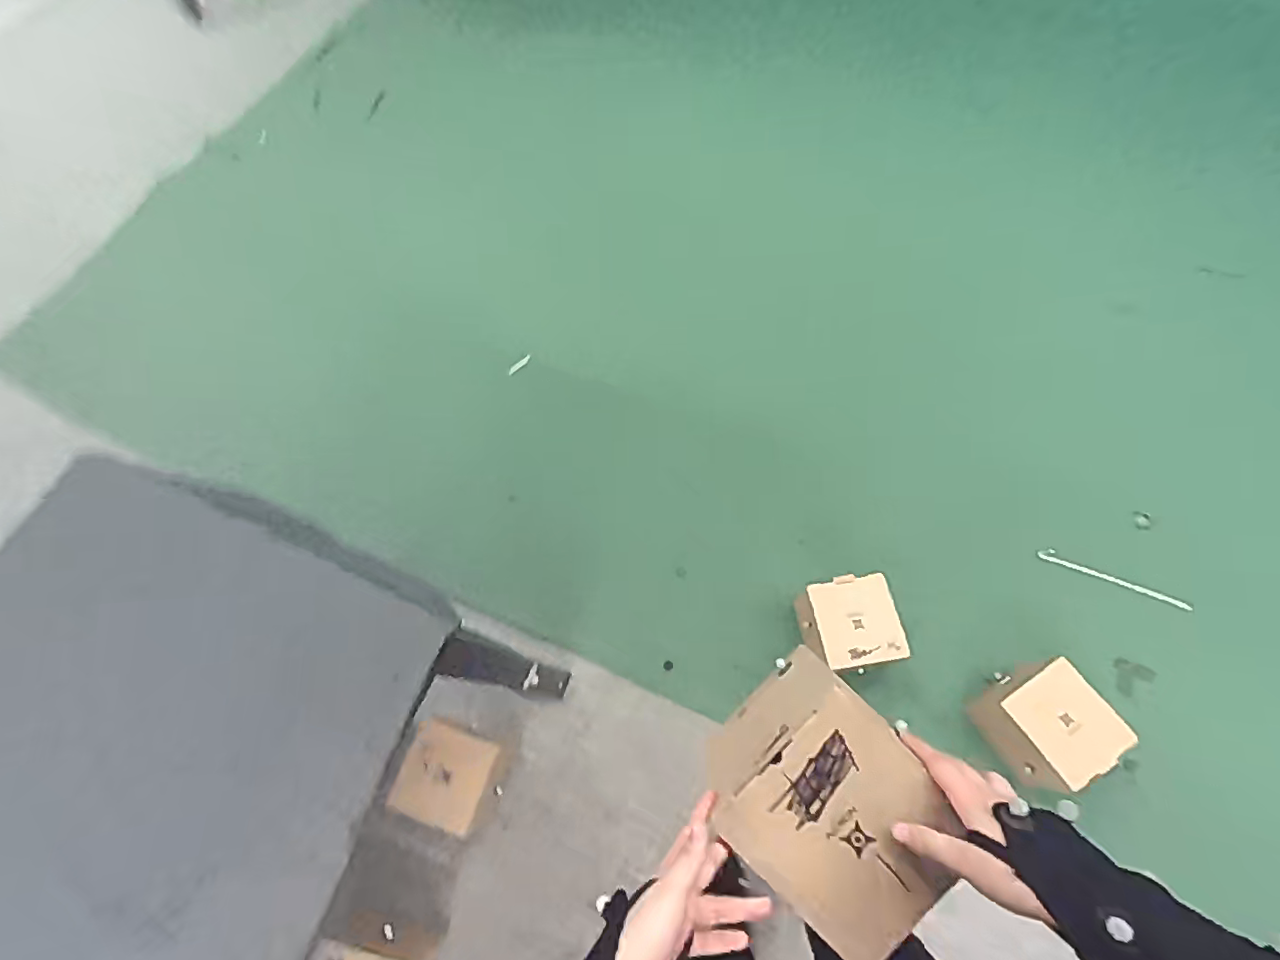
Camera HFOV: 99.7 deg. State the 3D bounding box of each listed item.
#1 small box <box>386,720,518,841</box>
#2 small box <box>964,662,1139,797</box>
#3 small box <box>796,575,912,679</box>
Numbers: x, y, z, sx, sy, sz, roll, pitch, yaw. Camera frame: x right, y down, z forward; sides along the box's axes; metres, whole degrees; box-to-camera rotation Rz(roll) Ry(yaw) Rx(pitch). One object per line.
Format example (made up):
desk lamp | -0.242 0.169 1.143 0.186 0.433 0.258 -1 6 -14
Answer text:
small box | -0.374 0.607 1.117 0.179 0.176 0.168 16 68 11
small box | 0.796 0.486 1.067 0.168 0.176 0.179 -31 66 -10
small box | 0.450 0.323 1.171 0.168 0.176 0.179 -10 65 1
